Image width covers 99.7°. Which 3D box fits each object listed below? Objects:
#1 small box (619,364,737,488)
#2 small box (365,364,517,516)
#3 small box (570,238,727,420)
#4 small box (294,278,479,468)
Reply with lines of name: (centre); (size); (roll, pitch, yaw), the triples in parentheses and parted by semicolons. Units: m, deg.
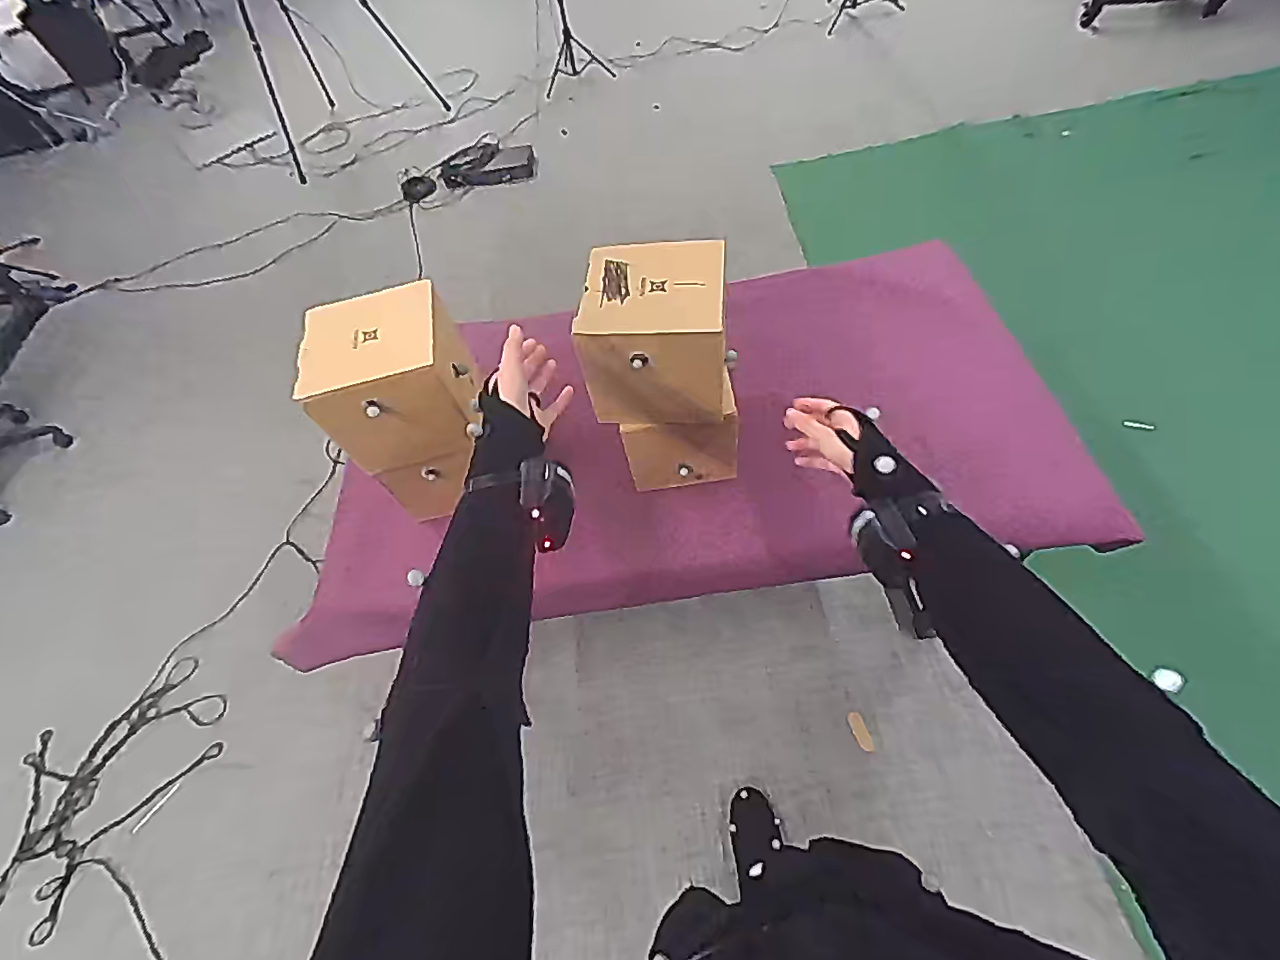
small box: (0.057, -0.110, 0.856); (0.168, 0.176, 0.179); (-8, 57, 5)
small box: (-0.316, -0.059, 0.886); (0.179, 0.176, 0.168); (-13, 58, 1)
small box: (0.024, -0.193, 0.717); (0.179, 0.176, 0.168); (1, 58, 10)
small box: (-0.333, -0.141, 0.748); (0.179, 0.176, 0.168); (-15, 58, 0)
